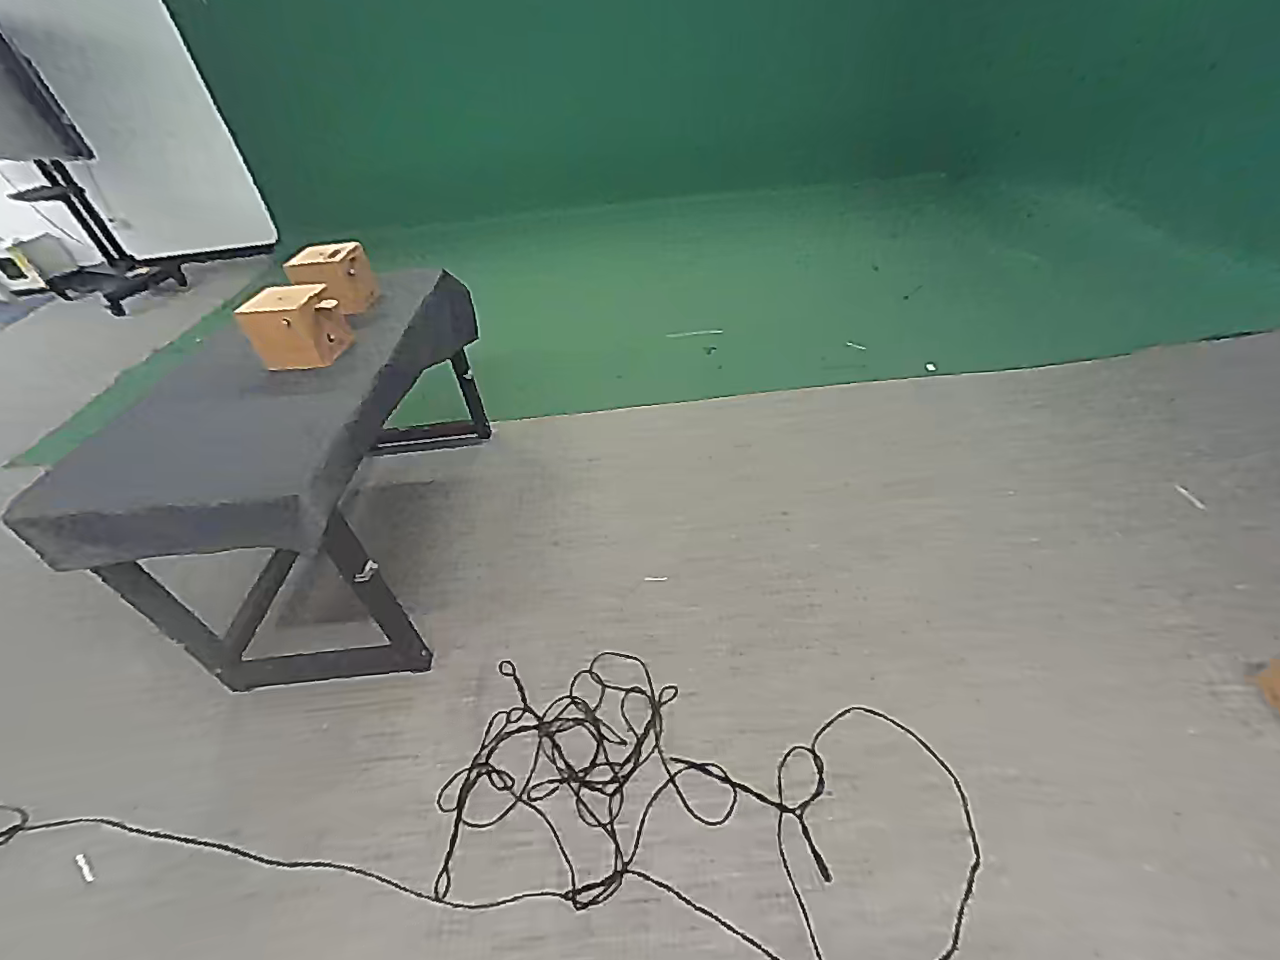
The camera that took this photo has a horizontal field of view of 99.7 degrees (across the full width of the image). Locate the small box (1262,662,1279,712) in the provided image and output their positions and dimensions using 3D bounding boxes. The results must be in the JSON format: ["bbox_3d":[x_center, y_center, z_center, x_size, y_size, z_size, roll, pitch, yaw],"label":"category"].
[{"bbox_3d":[1.570,0.489,1.203,0.179,0.176,0.168,1,43,8],"label":"small box"}]

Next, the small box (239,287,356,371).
[{"bbox_3d":[-0.917,-0.407,1.468,0.179,0.176,0.168,-1,41,6],"label":"small box"}]
